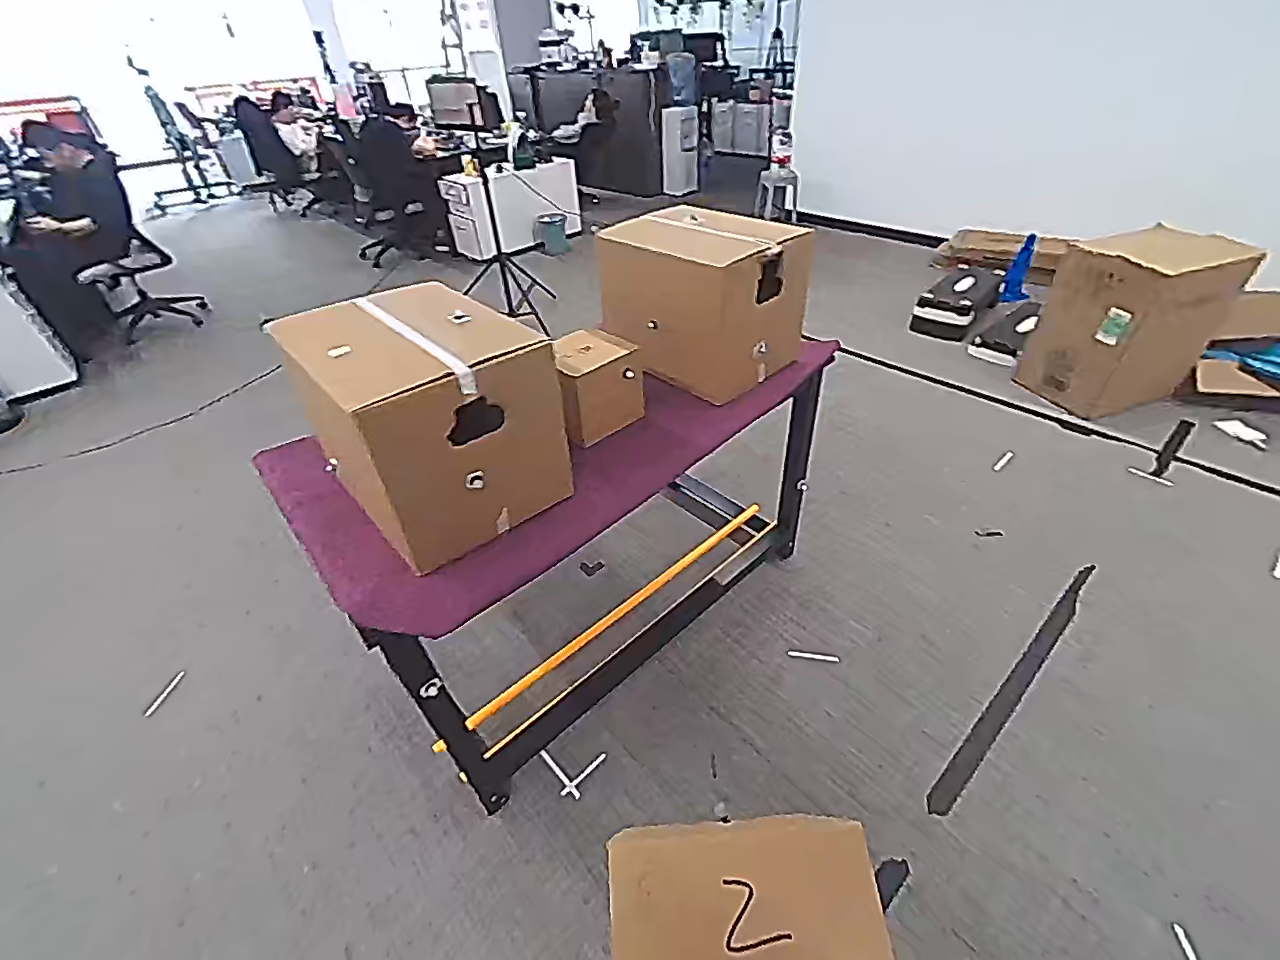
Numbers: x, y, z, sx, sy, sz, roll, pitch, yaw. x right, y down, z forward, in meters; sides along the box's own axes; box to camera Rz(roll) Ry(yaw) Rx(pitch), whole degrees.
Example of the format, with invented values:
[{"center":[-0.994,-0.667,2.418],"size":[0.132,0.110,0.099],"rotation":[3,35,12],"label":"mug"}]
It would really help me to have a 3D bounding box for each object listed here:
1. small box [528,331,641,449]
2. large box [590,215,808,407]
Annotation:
[{"center":[-0.112,-0.196,1.164],"size":[0.179,0.176,0.168],"rotation":[-33,46,-30],"label":"small box"},{"center":[0.140,-0.424,1.312],"size":[0.320,0.320,0.408],"rotation":[-32,45,-30],"label":"large box"}]
